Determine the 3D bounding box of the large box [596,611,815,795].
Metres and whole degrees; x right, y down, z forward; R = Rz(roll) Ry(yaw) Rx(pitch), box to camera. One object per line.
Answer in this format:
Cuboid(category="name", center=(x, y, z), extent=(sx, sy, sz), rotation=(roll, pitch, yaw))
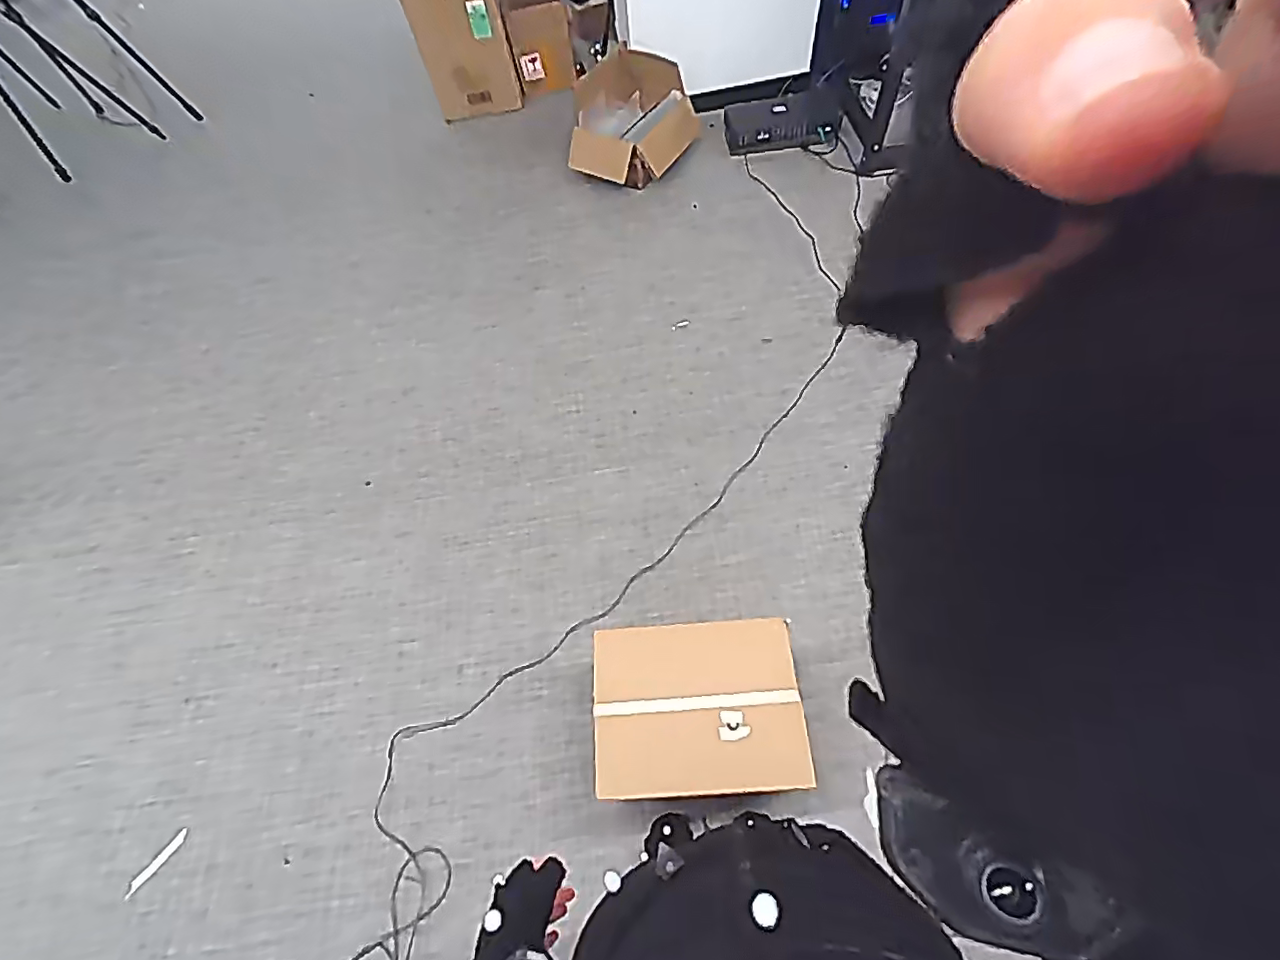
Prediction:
Cuboid(category="large box", center=(0.124, 0.500, 1.193), extent=(0.408, 0.320, 0.320), rotation=(-5, 61, 2))
